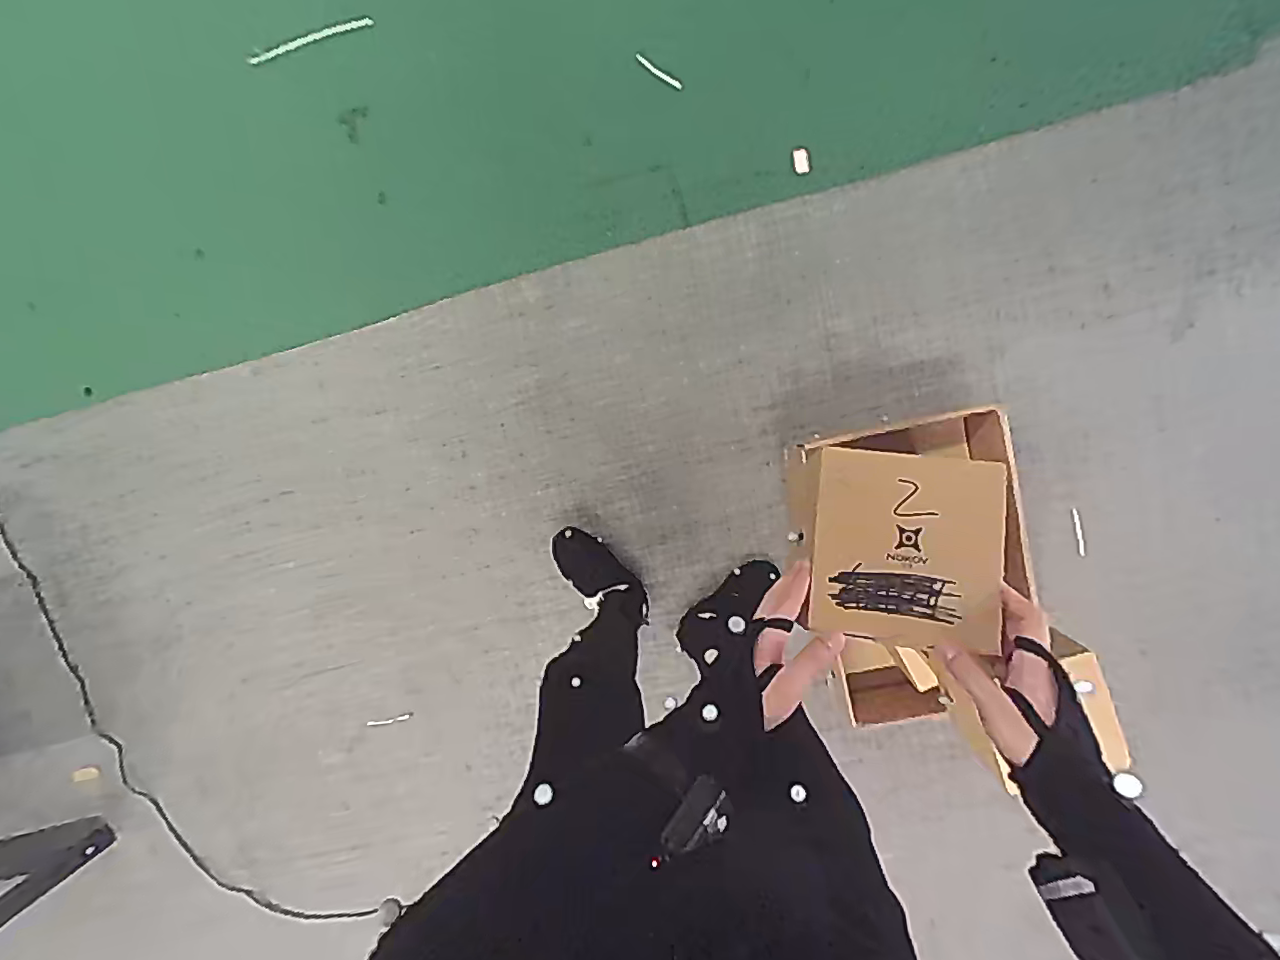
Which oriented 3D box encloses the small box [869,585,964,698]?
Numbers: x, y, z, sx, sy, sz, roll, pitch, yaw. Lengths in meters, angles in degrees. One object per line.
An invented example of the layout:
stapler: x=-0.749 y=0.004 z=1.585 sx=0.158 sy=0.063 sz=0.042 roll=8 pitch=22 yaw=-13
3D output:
small box: x=0.608 y=0.318 z=1.139 sx=0.179 sy=0.176 sz=0.168 roll=-29 pitch=91 yaw=8

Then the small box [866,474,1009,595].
small box: x=0.516 y=0.087 z=0.960 sx=0.168 sy=0.176 sz=0.179 roll=-8 pitch=96 yaw=6

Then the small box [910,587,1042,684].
small box: x=0.619 y=0.318 z=0.973 sx=0.179 sy=0.176 sz=0.168 roll=-39 pitch=90 yaw=8

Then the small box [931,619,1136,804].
small box: x=0.575 y=0.337 z=0.815 sx=0.168 sy=0.176 sz=0.179 roll=-20 pitch=94 yaw=8
